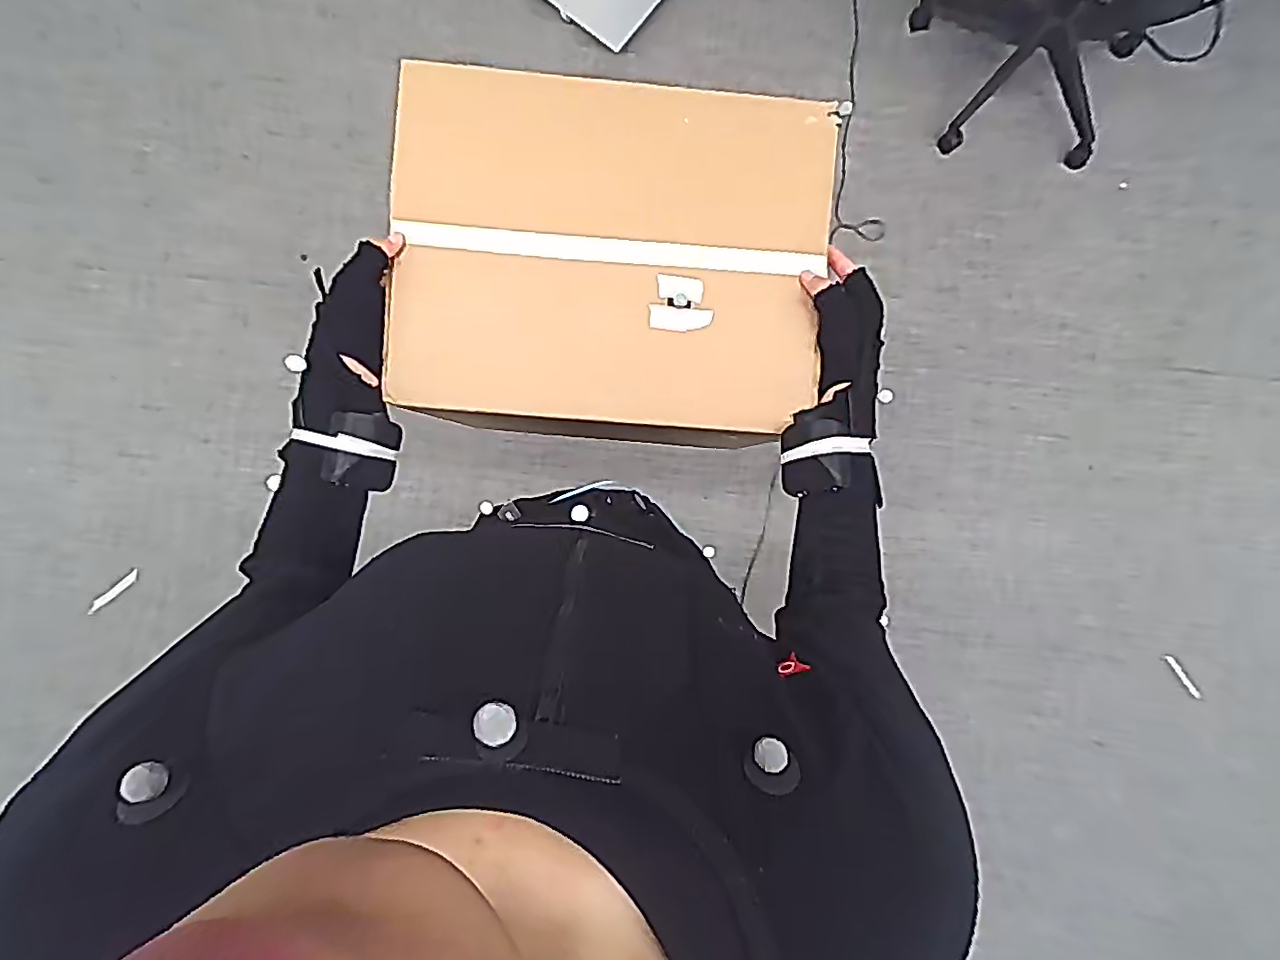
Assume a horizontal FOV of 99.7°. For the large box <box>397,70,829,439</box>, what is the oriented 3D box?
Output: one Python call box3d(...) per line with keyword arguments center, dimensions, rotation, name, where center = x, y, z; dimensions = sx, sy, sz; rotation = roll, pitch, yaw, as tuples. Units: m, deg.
box3d(center=(-0.033, -0.222, 0.664), dimensions=(0.408, 0.320, 0.320), rotation=(4, 92, -3), name="large box")
